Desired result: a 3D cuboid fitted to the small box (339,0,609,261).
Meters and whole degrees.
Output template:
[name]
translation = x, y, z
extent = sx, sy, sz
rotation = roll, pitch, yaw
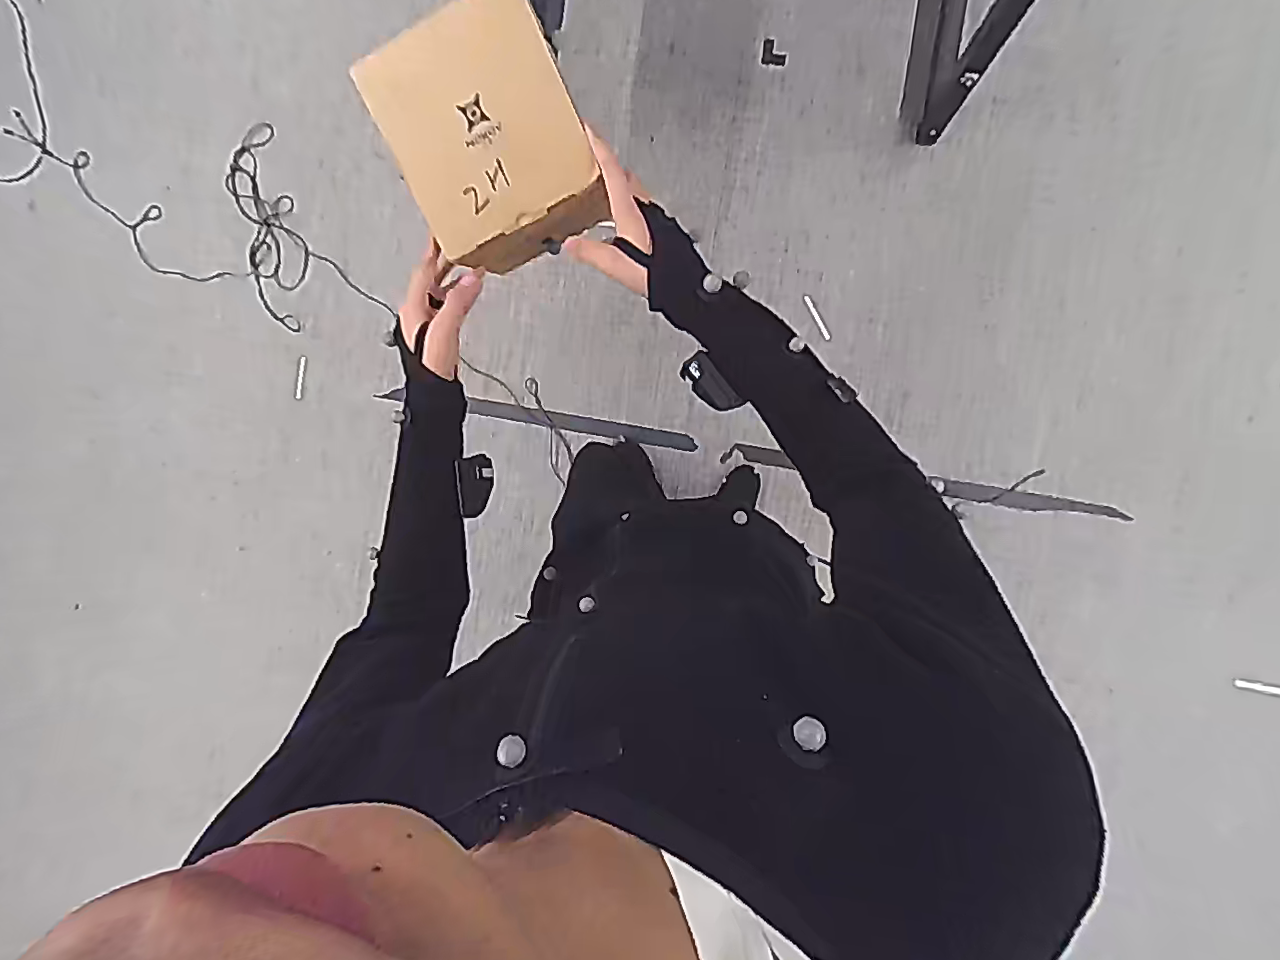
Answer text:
[small box]
translation = -0.143, -0.340, 0.537
extent = 0.168, 0.176, 0.179
rotation = -23, 105, 10
